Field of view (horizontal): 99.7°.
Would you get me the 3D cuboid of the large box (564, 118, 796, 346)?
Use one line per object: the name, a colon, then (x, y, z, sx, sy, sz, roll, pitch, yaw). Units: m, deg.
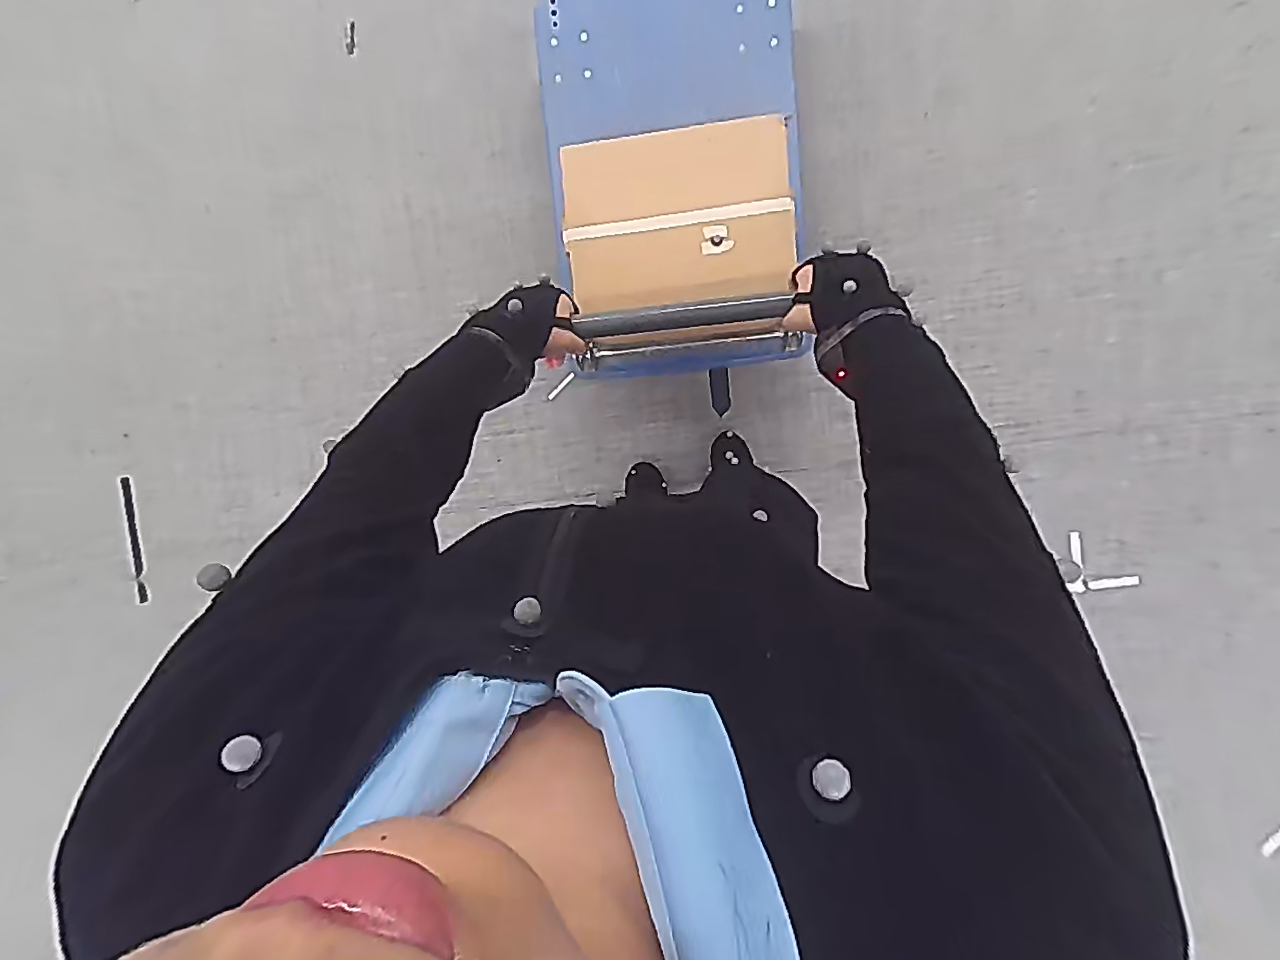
large box: (0.082, -0.481, 1.132, 0.408, 0.320, 0.320, -5, 95, 5)
